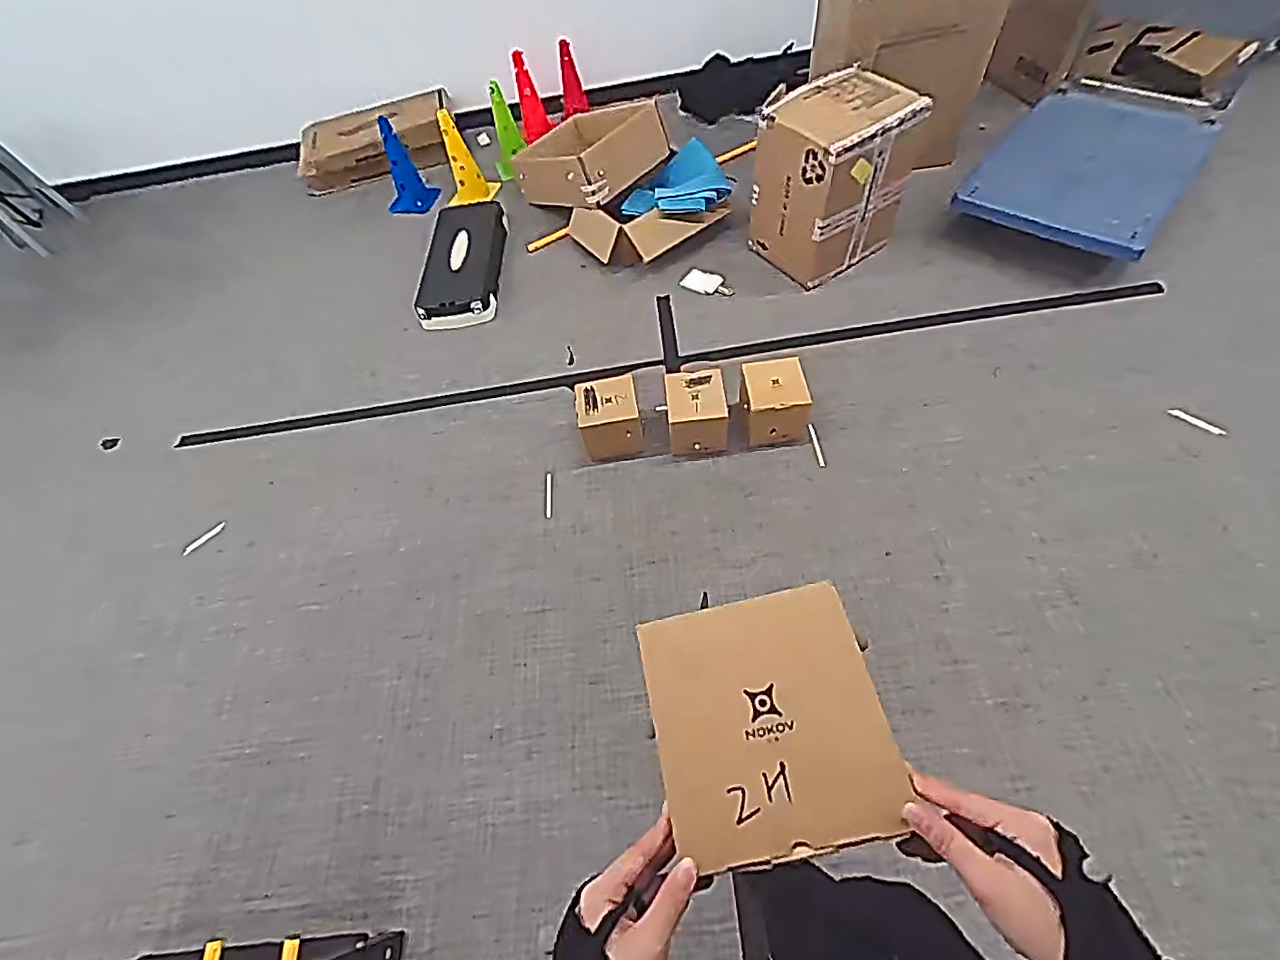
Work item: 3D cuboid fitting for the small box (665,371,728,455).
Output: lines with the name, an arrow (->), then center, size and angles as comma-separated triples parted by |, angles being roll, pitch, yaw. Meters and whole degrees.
small box -> 0.163, -0.195, 1.587 | 0.168, 0.176, 0.179 | -6, 59, 4

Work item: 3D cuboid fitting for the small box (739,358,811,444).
small box -> 0.387, -0.228, 1.582 | 0.168, 0.176, 0.179 | -7, 58, 3

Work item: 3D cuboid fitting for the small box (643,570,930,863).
small box -> 0.106, 0.200, 0.459 | 0.168, 0.176, 0.179 | -14, 60, 4
